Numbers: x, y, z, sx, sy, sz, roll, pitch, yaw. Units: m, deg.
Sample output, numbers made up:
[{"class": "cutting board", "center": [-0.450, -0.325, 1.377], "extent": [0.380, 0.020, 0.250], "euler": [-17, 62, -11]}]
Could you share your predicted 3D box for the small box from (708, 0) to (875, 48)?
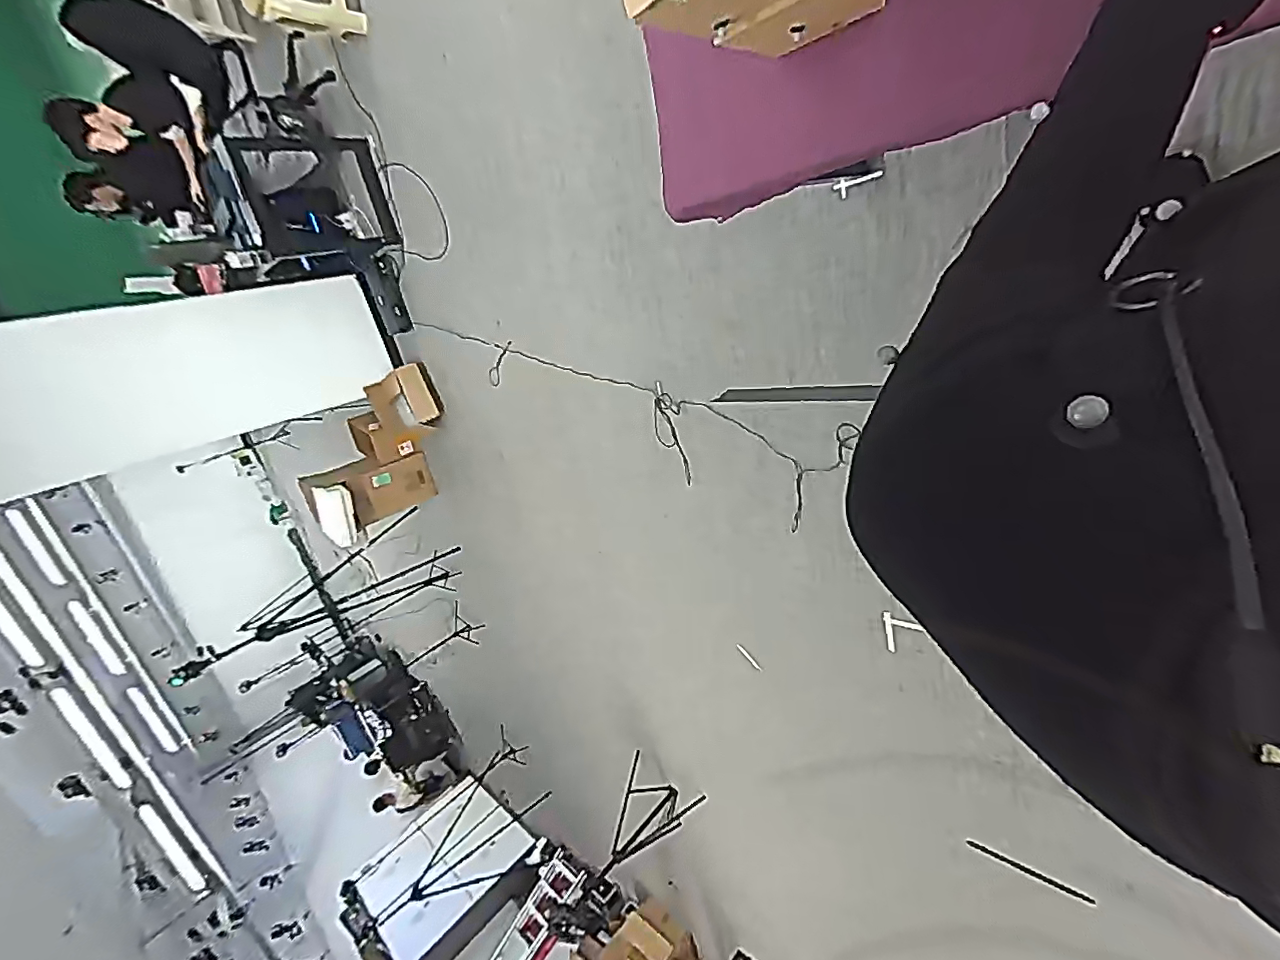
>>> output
[{"class": "small box", "center": [0.191, -0.684, 0.690], "extent": [0.168, 0.176, 0.179], "euler": [10, 121, 43]}]

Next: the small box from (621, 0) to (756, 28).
[{"class": "small box", "center": [0.075, -0.631, 0.586], "extent": [0.168, 0.176, 0.179], "euler": [5, 116, 45]}]
